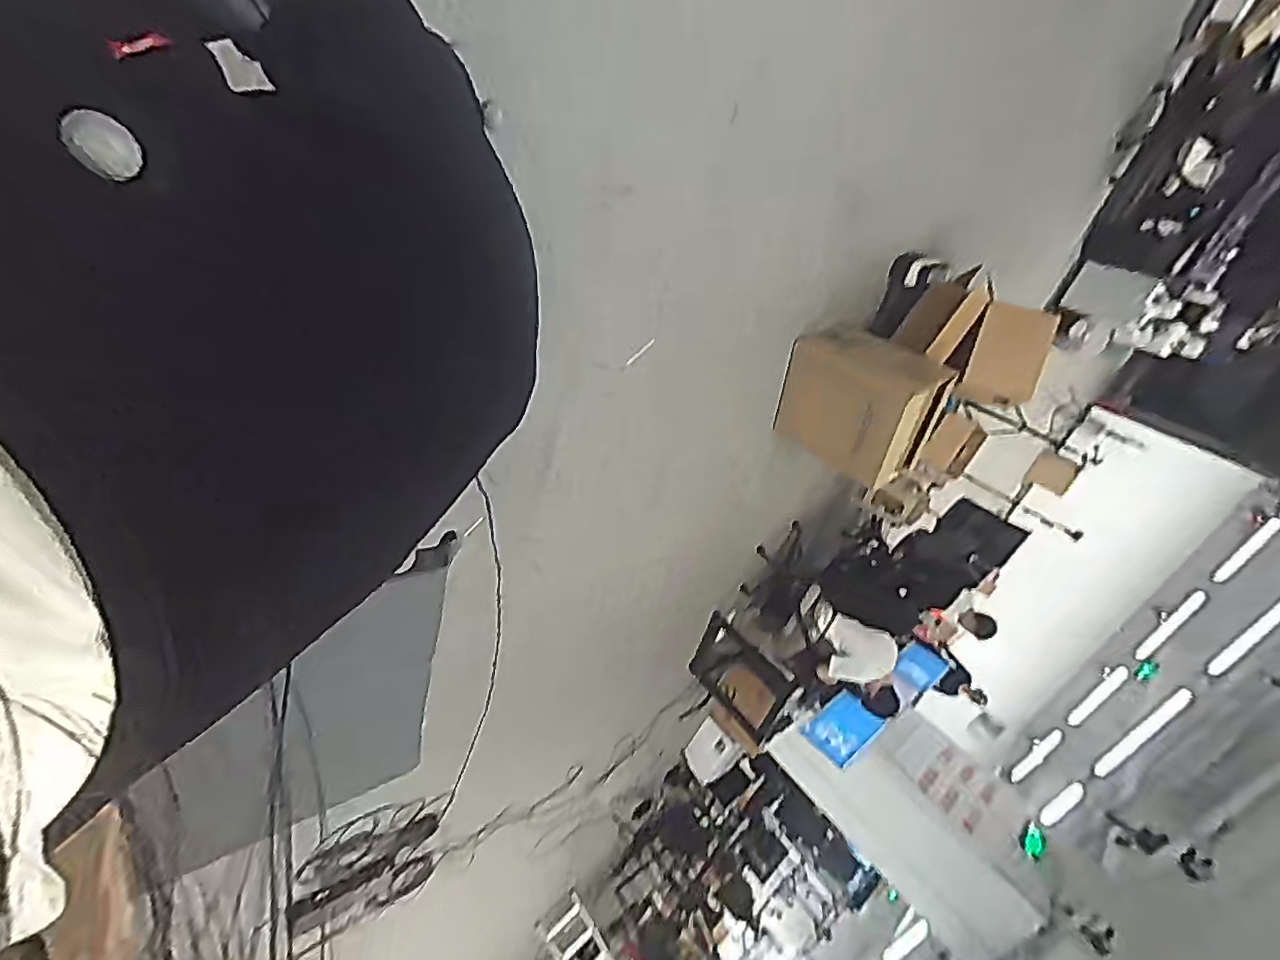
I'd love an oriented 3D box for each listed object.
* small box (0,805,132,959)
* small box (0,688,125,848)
[{"bbox_3d":[-0.644,0.483,0.549,0.179,0.176,0.168,-8,130,-42],"label":"small box"},{"bbox_3d":[-0.741,0.386,0.638,0.179,0.176,0.168,-11,132,-43],"label":"small box"}]
